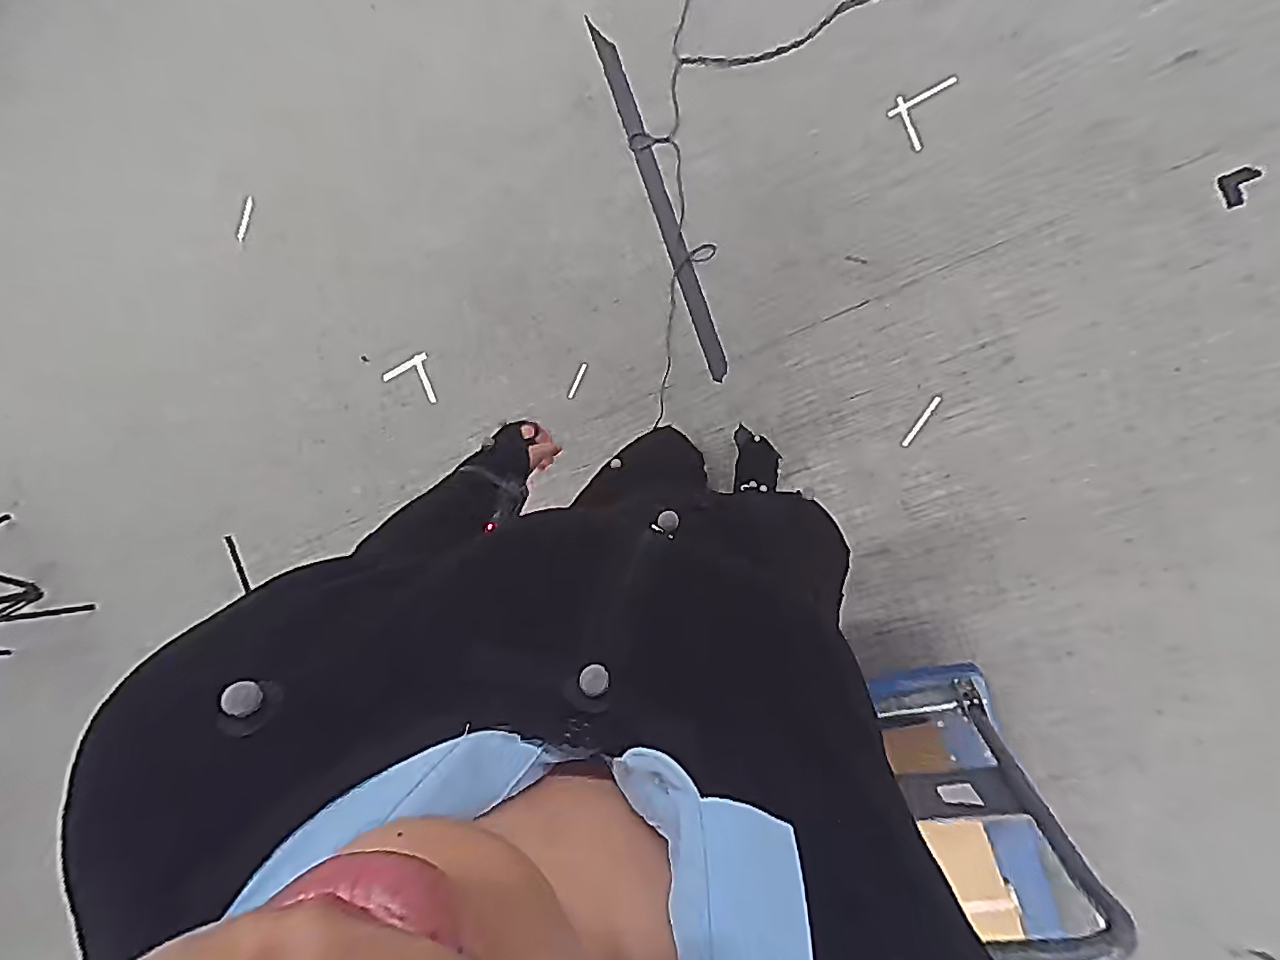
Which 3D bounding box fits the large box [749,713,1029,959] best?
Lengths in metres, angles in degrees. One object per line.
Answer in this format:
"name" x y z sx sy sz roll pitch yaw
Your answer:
"large box" 0.479 0.739 1.121 0.408 0.320 0.320 -21 88 17
